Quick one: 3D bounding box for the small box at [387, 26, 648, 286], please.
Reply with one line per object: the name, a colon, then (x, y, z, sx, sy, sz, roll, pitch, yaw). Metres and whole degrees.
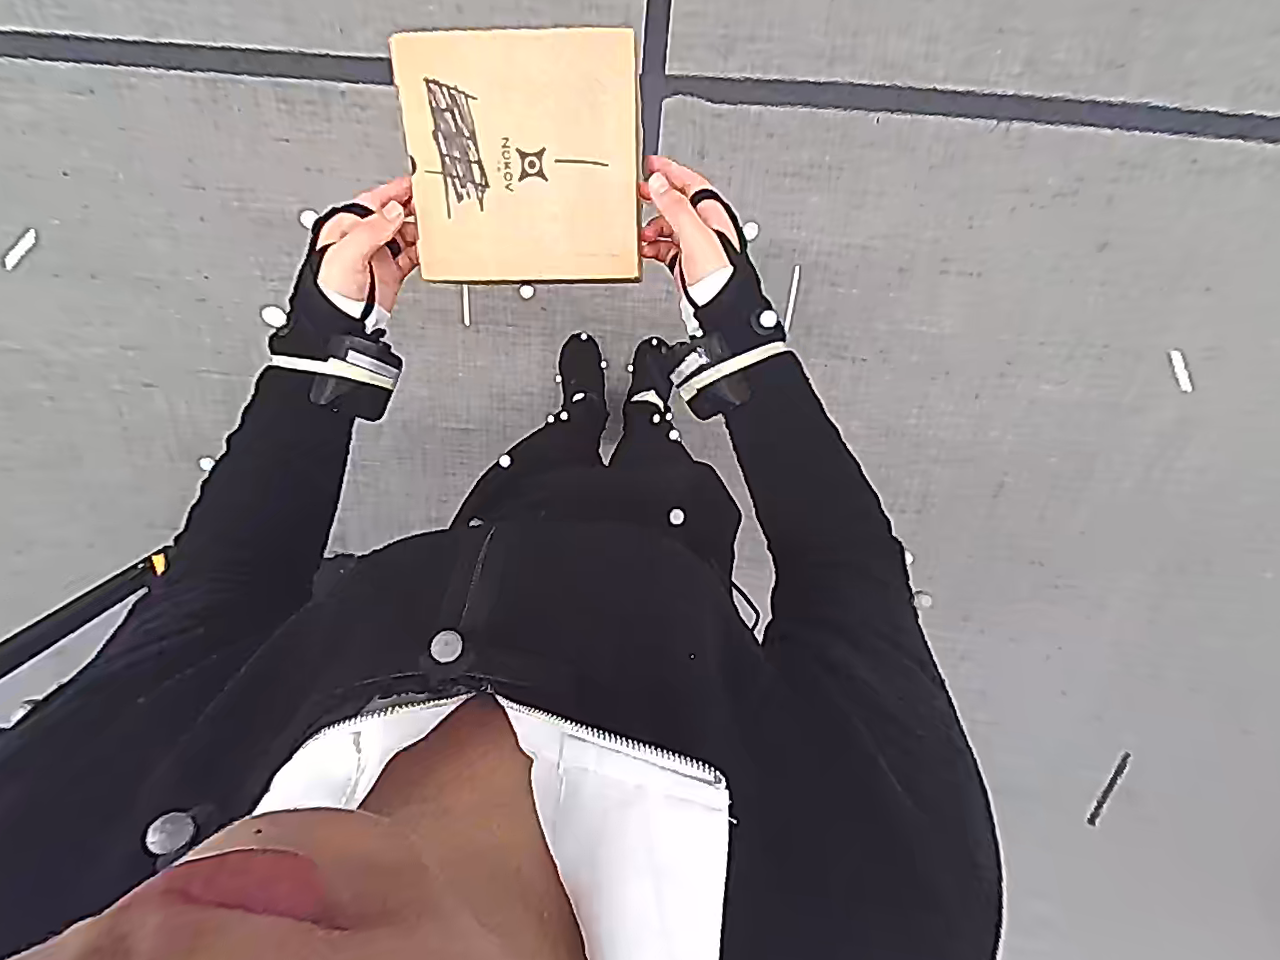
small box: (-0.083, -0.255, 0.466, 0.179, 0.176, 0.168, 0, 111, 2)
